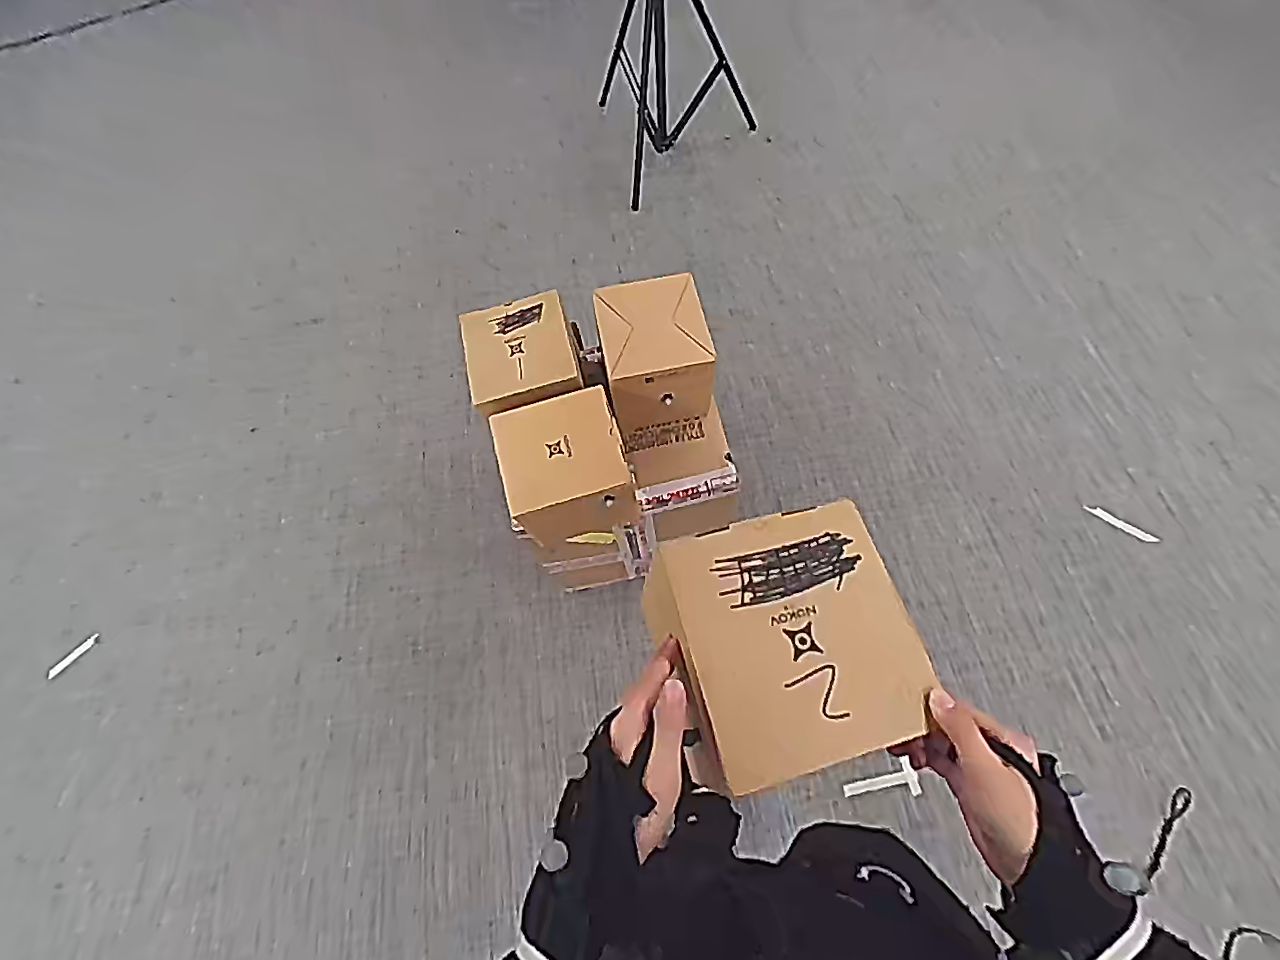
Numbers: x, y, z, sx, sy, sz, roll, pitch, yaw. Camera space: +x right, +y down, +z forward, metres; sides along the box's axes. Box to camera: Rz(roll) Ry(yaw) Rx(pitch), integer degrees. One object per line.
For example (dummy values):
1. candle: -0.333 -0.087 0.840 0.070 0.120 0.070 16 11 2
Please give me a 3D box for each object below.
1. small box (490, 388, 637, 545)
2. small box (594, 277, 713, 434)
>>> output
1. small box: -0.111 -0.012 0.841 0.179 0.176 0.168 -17 69 -4
2. small box: 0.021 -0.205 0.908 0.168 0.176 0.179 -11 67 -4
